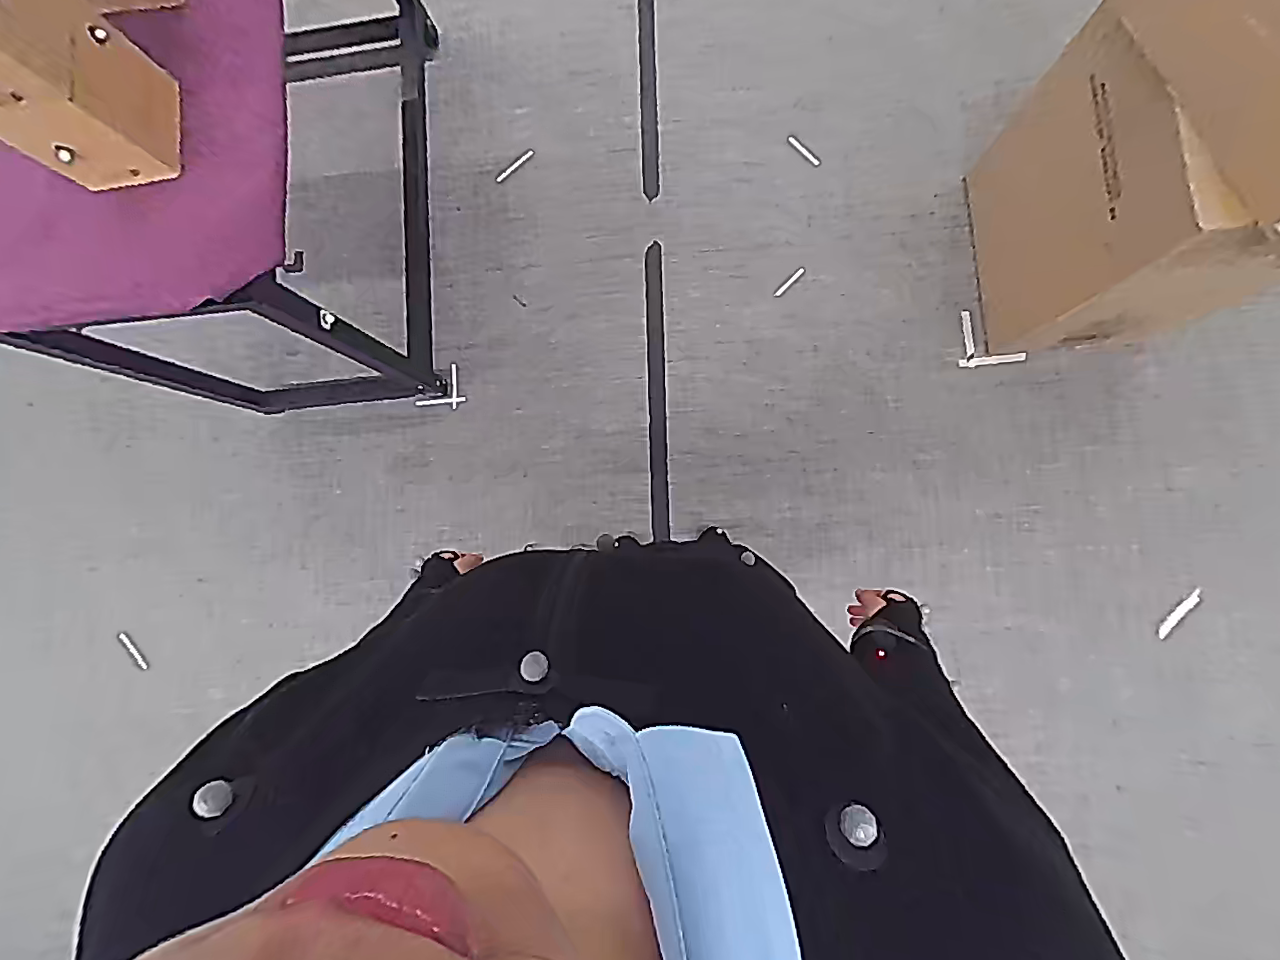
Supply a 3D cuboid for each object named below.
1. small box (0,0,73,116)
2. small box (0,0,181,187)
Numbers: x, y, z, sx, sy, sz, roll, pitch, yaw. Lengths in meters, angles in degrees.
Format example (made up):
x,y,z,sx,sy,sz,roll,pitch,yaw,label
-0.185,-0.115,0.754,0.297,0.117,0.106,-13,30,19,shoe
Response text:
x,y,z,sx,sy,sz,roll,pitch,yaw,label
-0.879,-0.606,0.683,0.168,0.176,0.179,-7,84,5,small box
-0.868,-0.589,0.846,0.168,0.176,0.179,-7,84,5,small box
